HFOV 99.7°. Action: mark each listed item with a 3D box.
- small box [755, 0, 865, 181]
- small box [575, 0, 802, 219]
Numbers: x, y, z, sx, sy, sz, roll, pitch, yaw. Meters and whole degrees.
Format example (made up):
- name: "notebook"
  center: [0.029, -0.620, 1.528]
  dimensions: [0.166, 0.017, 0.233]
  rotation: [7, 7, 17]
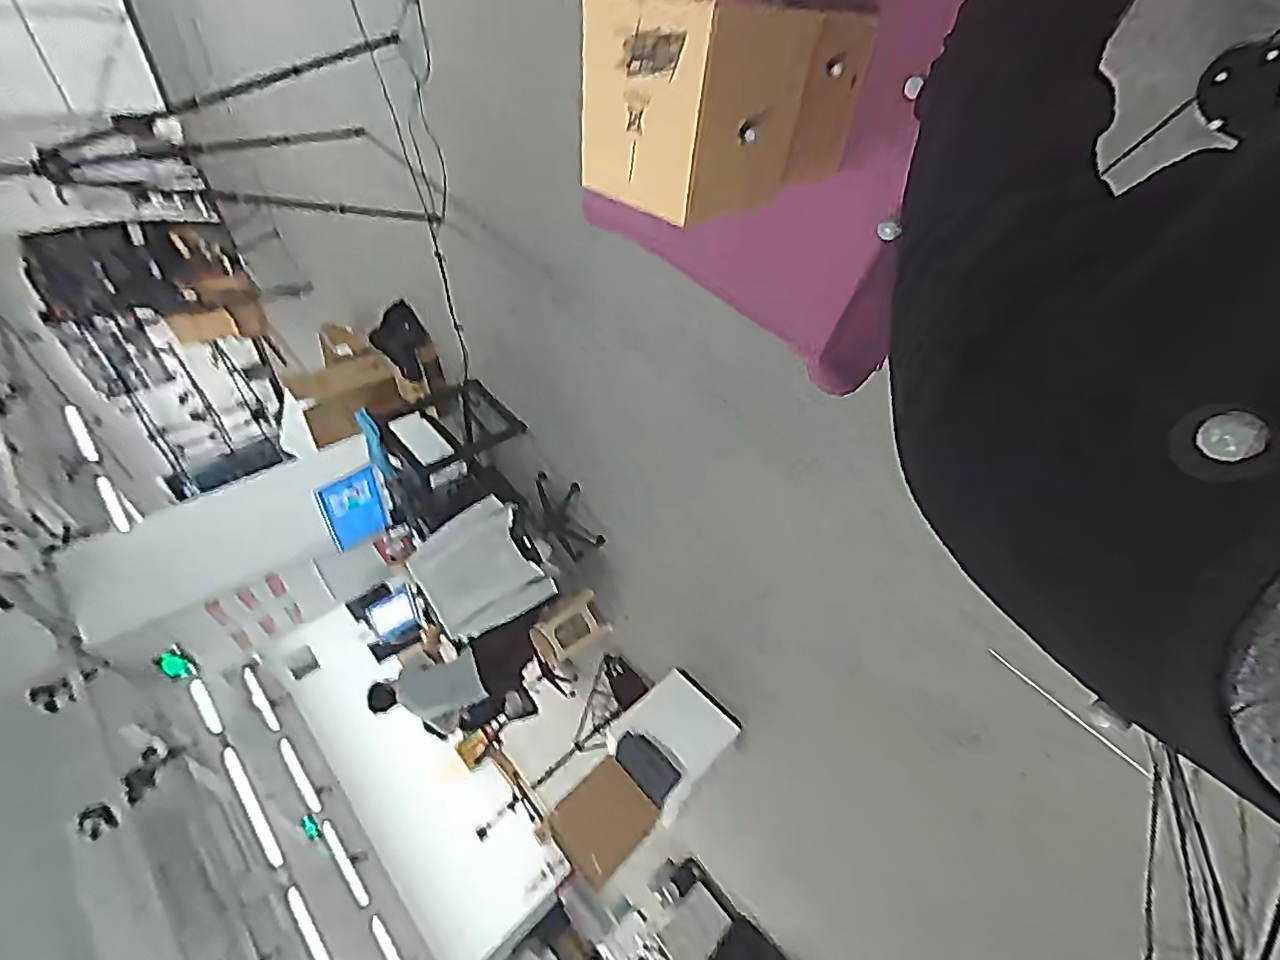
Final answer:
- name: "small box"
  center: [0.148, -0.498, 0.681]
  dimensions: [0.179, 0.176, 0.168]
  rotation: [39, 141, 29]
- name: "small box"
  center: [0.048, -0.410, 0.583]
  dimensions: [0.168, 0.176, 0.179]
  rotation: [38, 141, 28]
